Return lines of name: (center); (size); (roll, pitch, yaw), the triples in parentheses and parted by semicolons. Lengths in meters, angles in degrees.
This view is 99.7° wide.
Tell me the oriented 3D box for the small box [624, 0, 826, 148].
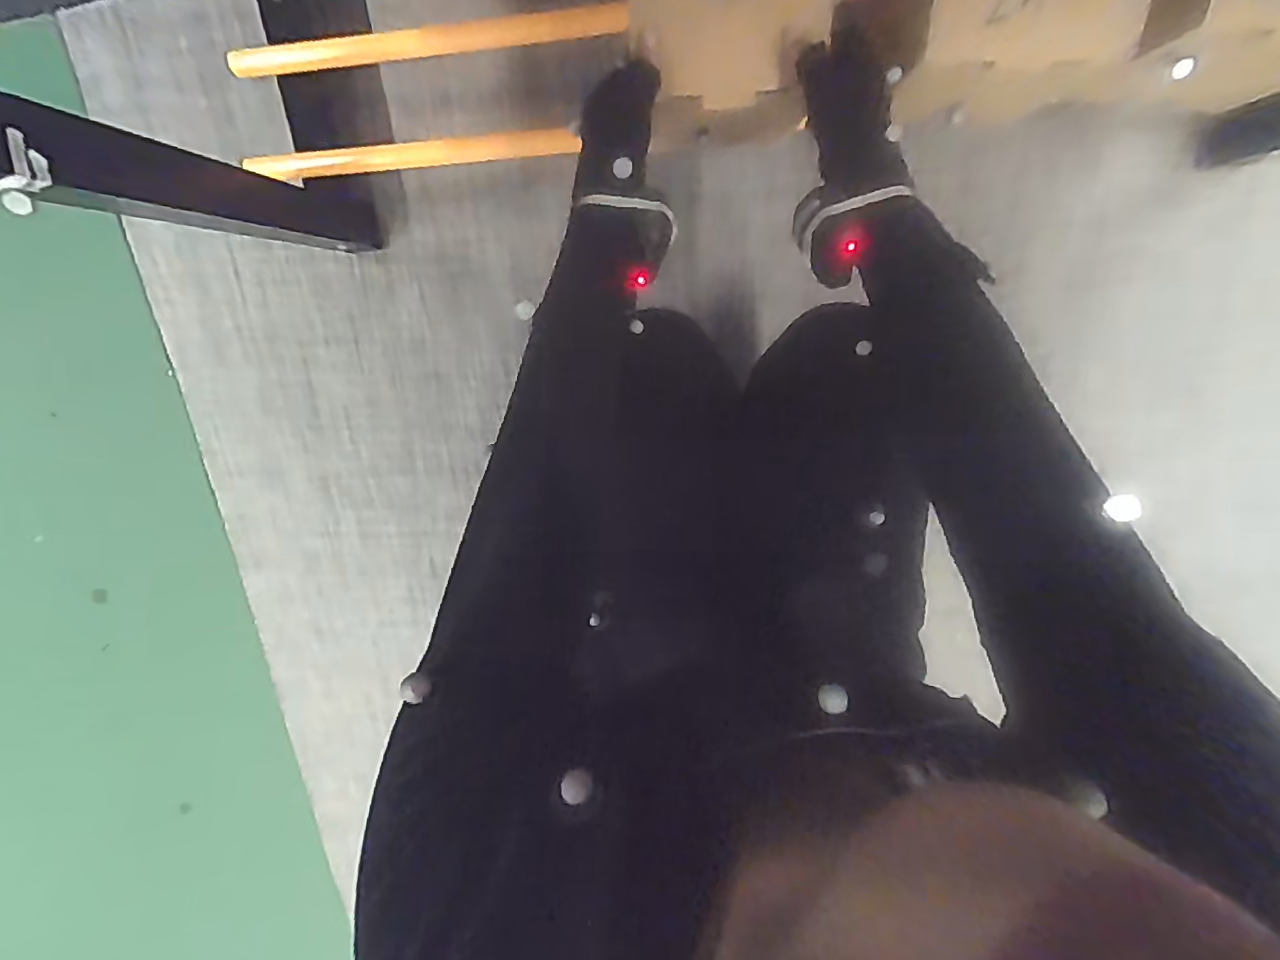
small box: (0.071, -0.432, 0.504); (0.168, 0.176, 0.179); (-1, 110, 4)
